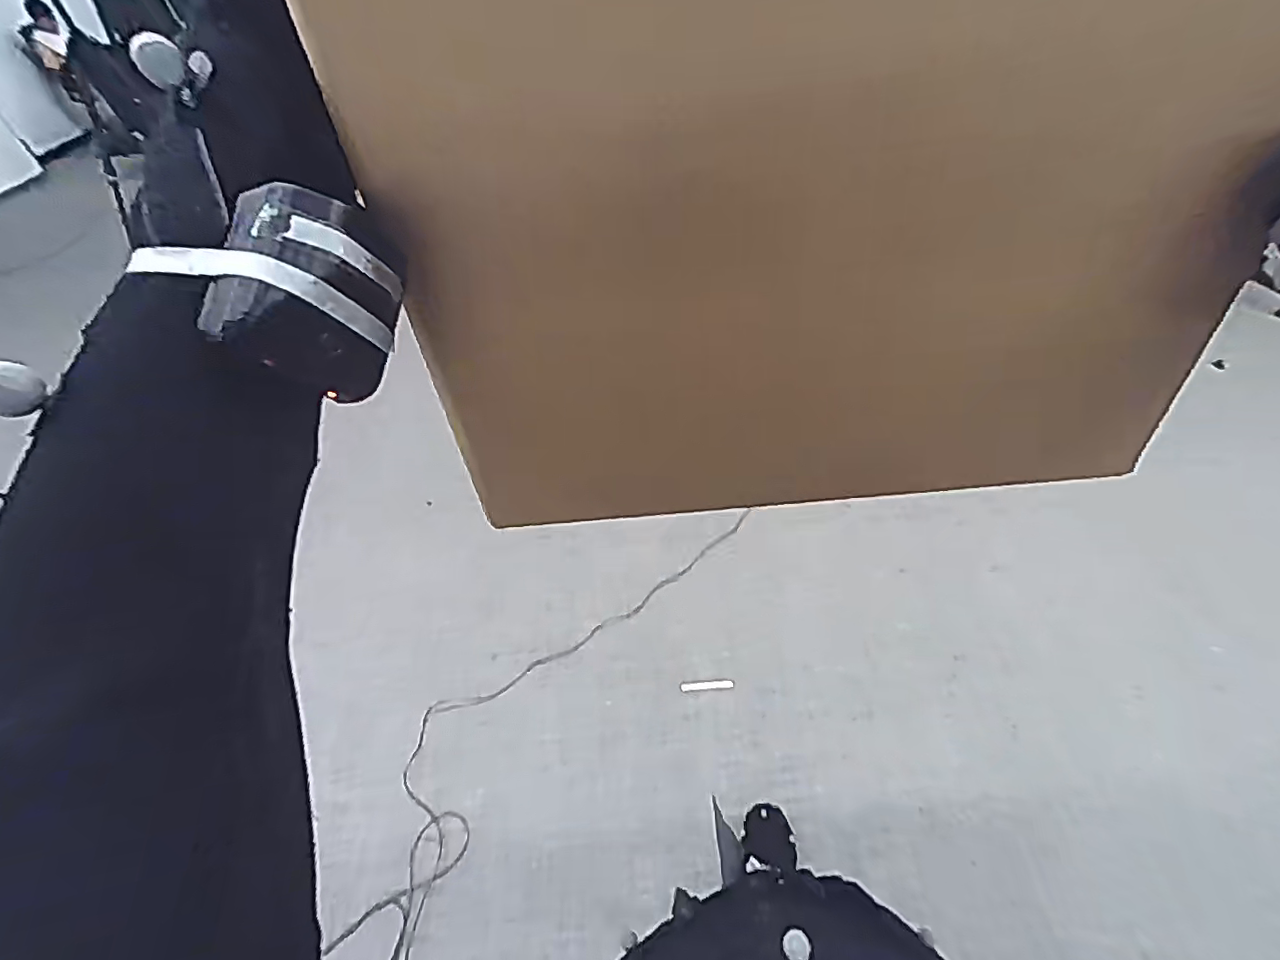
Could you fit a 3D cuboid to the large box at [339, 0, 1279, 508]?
[{"bbox_3d":[0.083,-0.205,0.380,0.408,0.320,0.320,-5,39,2],"label":"large box"}]
